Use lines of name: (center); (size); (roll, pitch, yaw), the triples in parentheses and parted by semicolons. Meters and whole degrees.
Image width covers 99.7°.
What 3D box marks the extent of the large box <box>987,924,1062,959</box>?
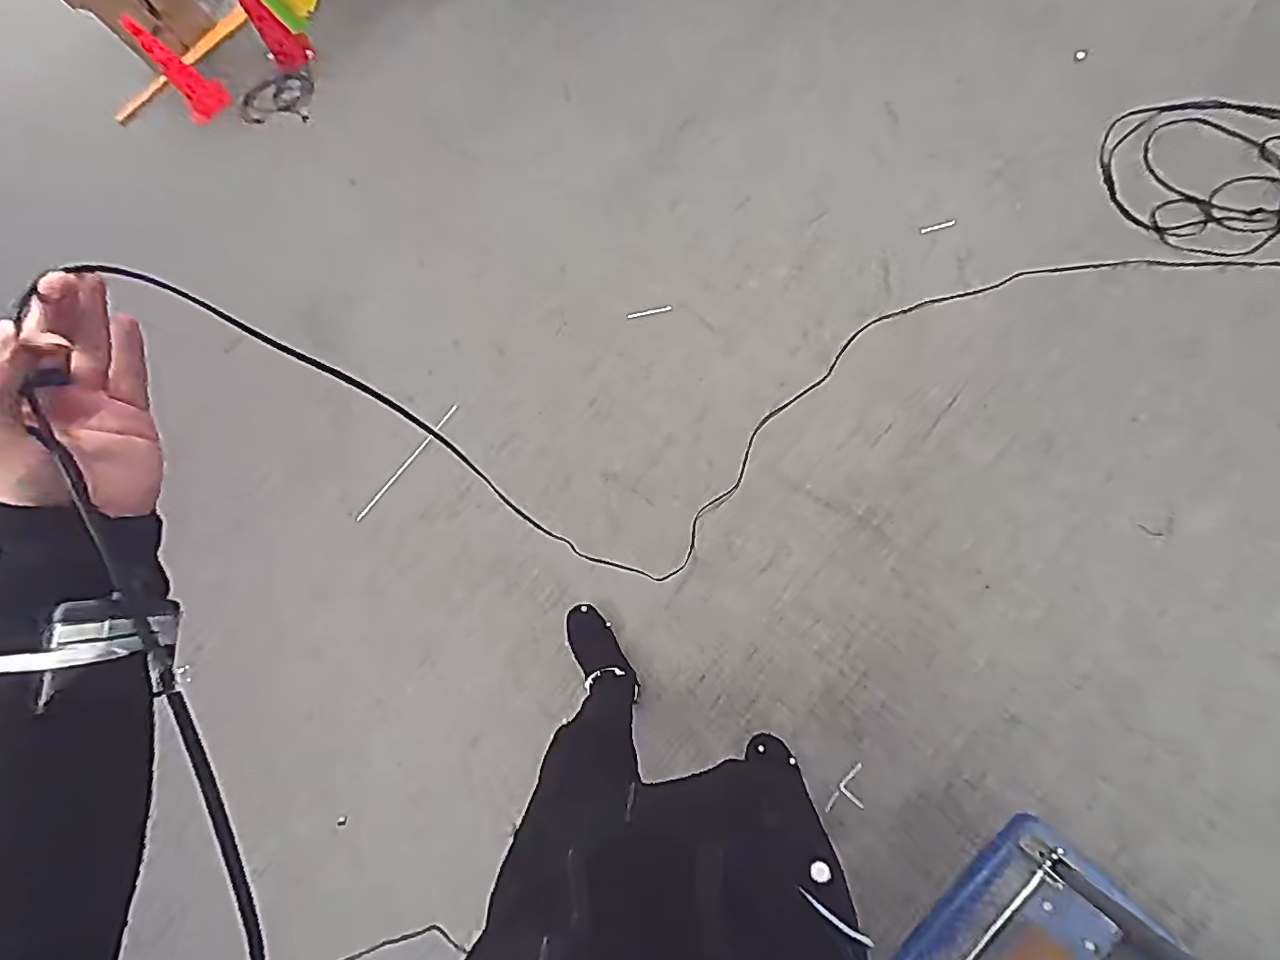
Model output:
large box: (0.720, 1.012, 0.796); (0.408, 0.320, 0.320); (42, 86, 19)
